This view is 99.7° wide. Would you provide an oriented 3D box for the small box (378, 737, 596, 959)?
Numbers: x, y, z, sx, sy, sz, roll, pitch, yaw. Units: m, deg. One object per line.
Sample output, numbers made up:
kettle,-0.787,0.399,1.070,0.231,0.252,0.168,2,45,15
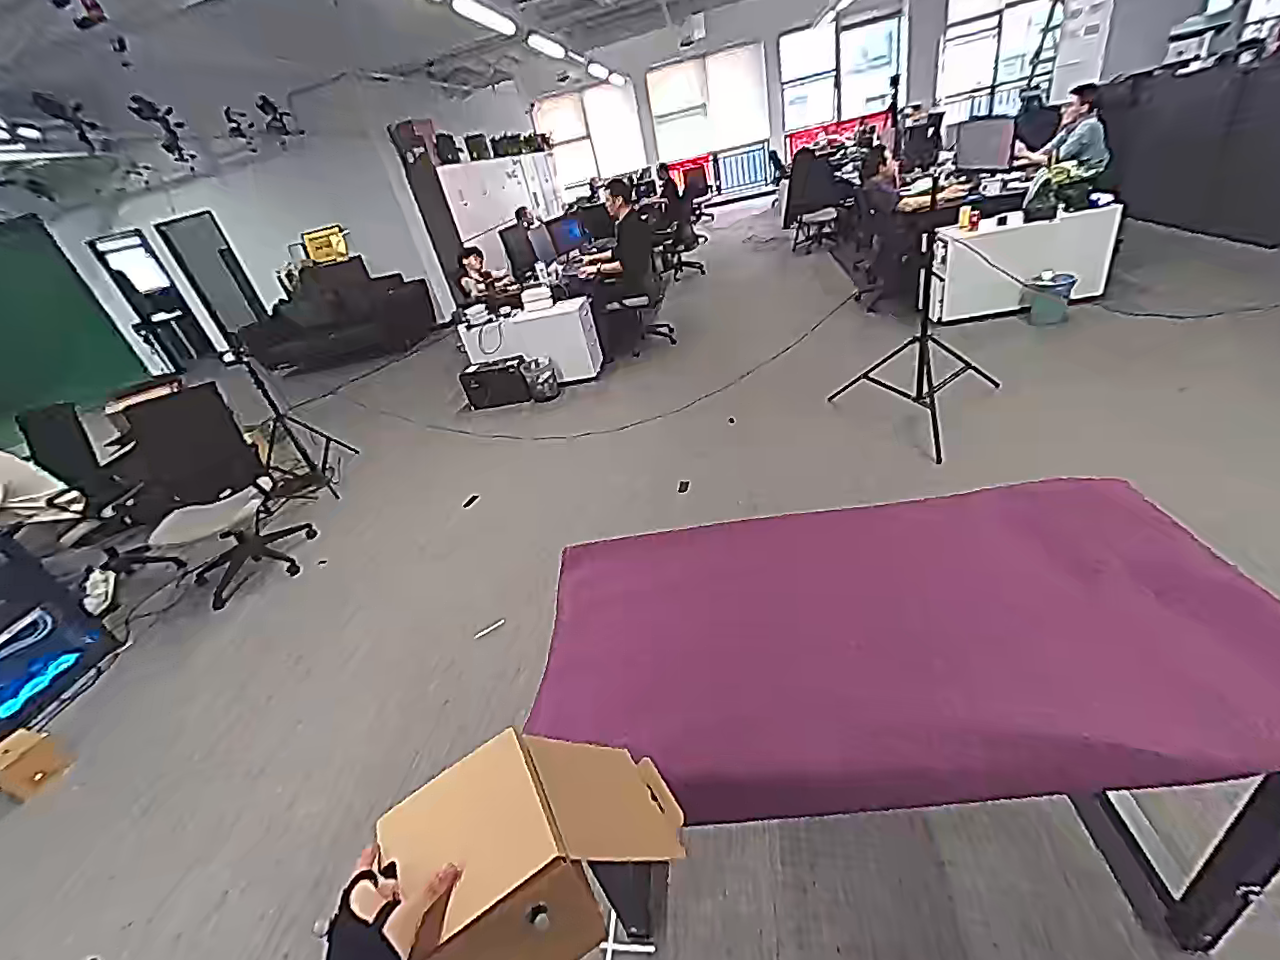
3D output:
small box,-0.162,0.436,0.595,0.179,0.176,0.168,-25,30,-18
